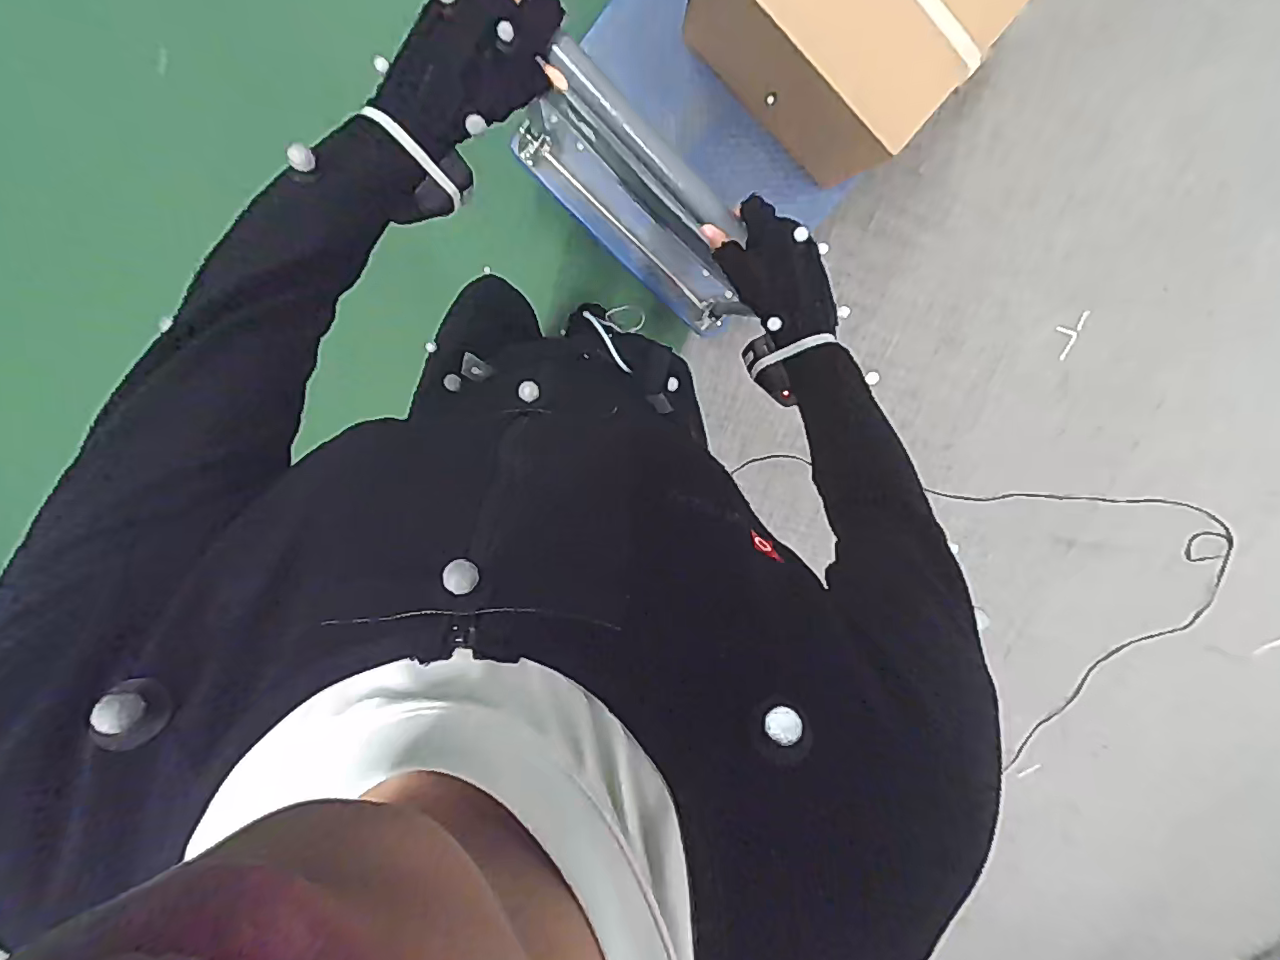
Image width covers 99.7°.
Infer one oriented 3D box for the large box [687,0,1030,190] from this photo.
[{"bbox_3d":[0.335,-0.773,0.901,0.408,0.320,0.320,39,103,-13],"label":"large box"}]
